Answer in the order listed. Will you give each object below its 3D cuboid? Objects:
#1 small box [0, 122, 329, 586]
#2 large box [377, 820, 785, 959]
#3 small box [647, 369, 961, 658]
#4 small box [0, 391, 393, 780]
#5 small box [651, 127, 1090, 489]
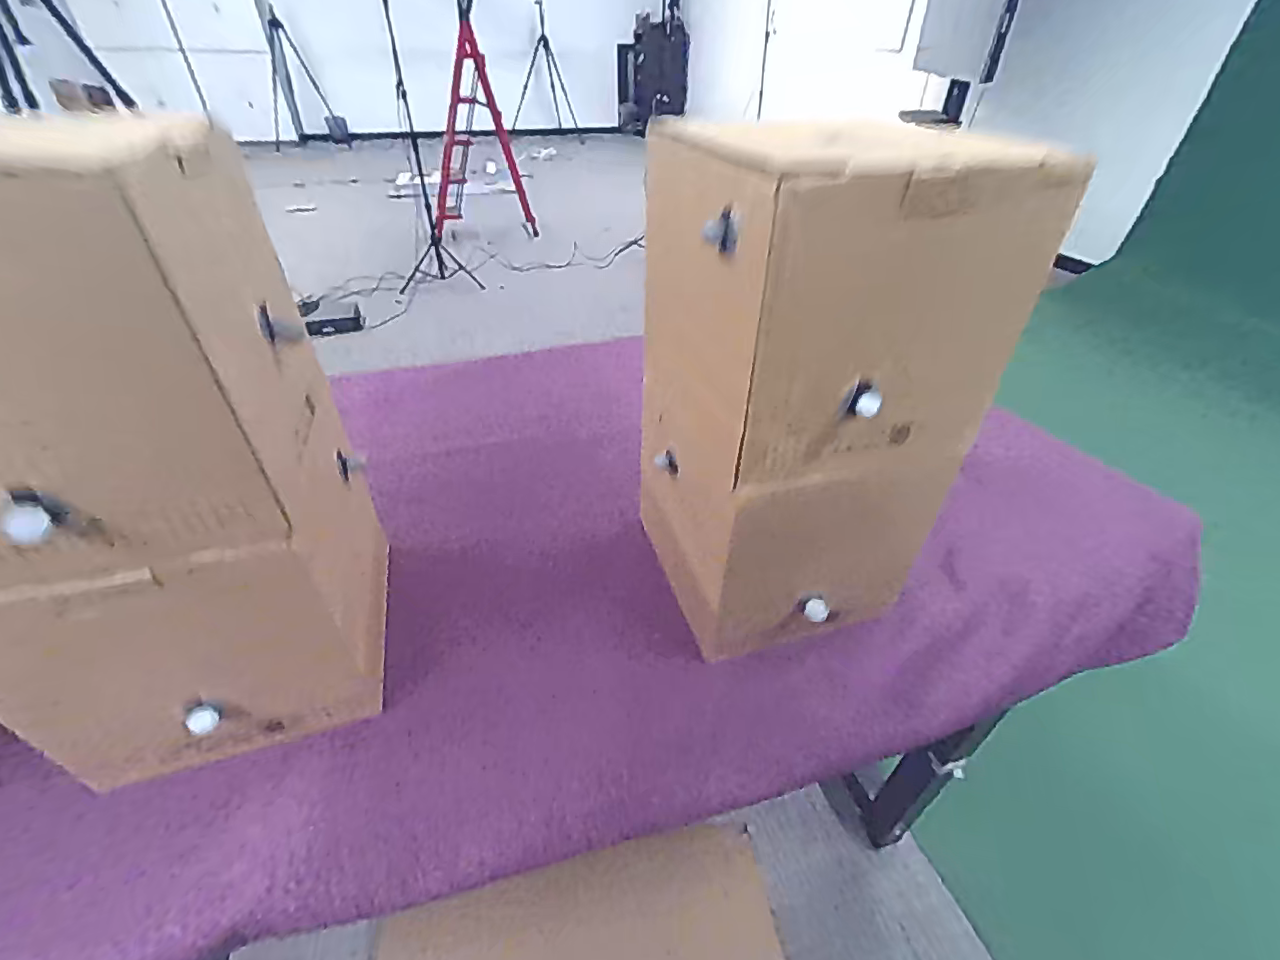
[{"bbox_3d":[-0.276,-0.067,0.267,0.179,0.176,0.168,-11,39,-16],"label":"small box"},{"bbox_3d":[-0.057,0.627,0.573,0.408,0.320,0.320,-2,36,-11],"label":"large box"},{"bbox_3d":[0.107,0.012,0.445,0.168,0.176,0.179,-11,40,-14],"label":"small box"},{"bbox_3d":[-0.278,0.061,0.369,0.168,0.176,0.179,-11,40,-15],"label":"small box"},{"bbox_3d":[0.109,-0.118,0.348,0.168,0.176,0.179,-11,40,-14],"label":"small box"}]
